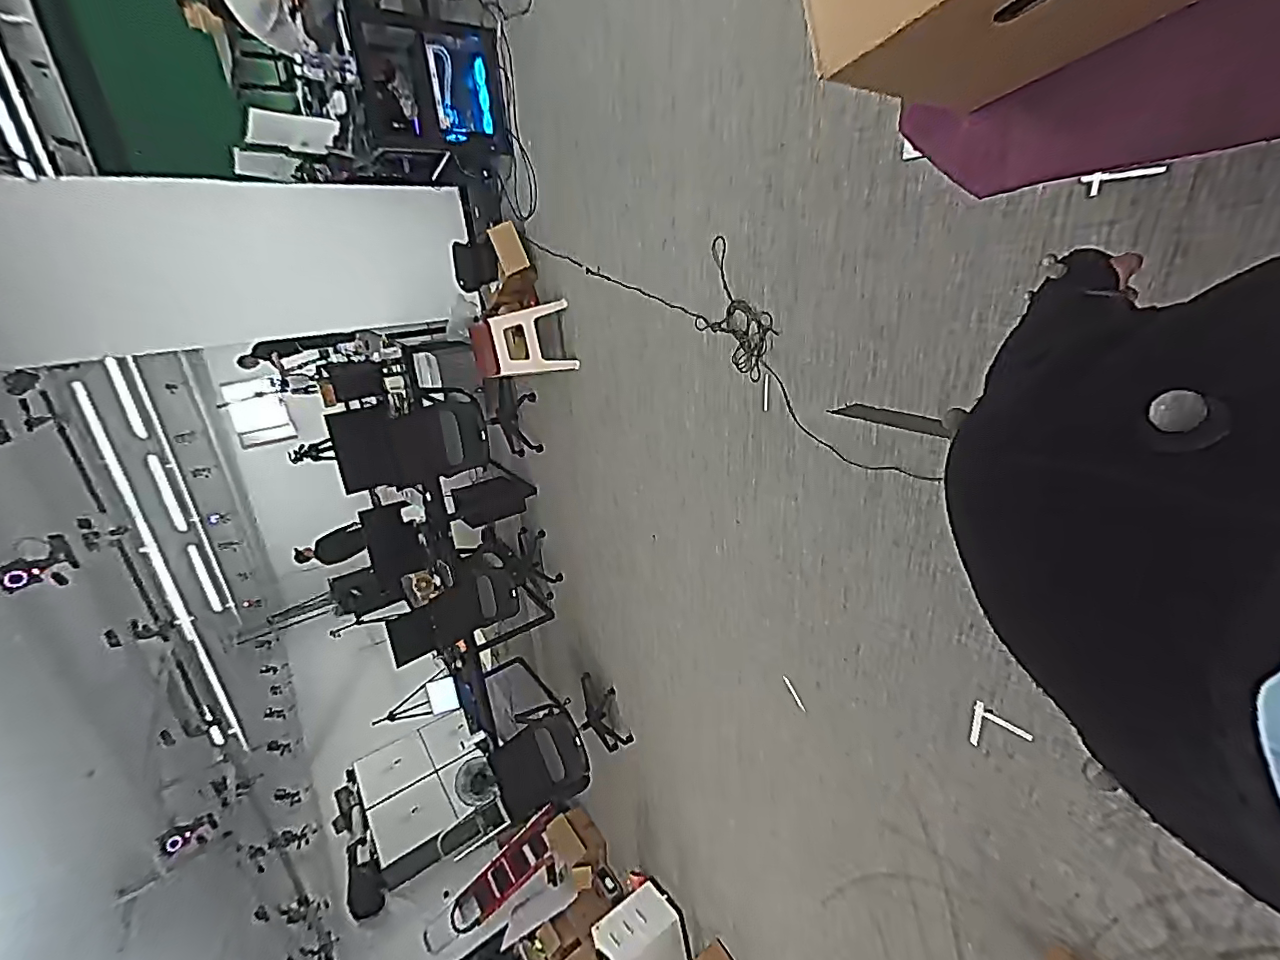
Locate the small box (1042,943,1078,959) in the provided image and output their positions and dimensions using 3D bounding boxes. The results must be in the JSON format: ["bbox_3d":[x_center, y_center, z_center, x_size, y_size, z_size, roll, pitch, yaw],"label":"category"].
[{"bbox_3d":[1.272,1.543,1.601,0.168,0.176,0.179,23,125,50],"label":"small box"}]
